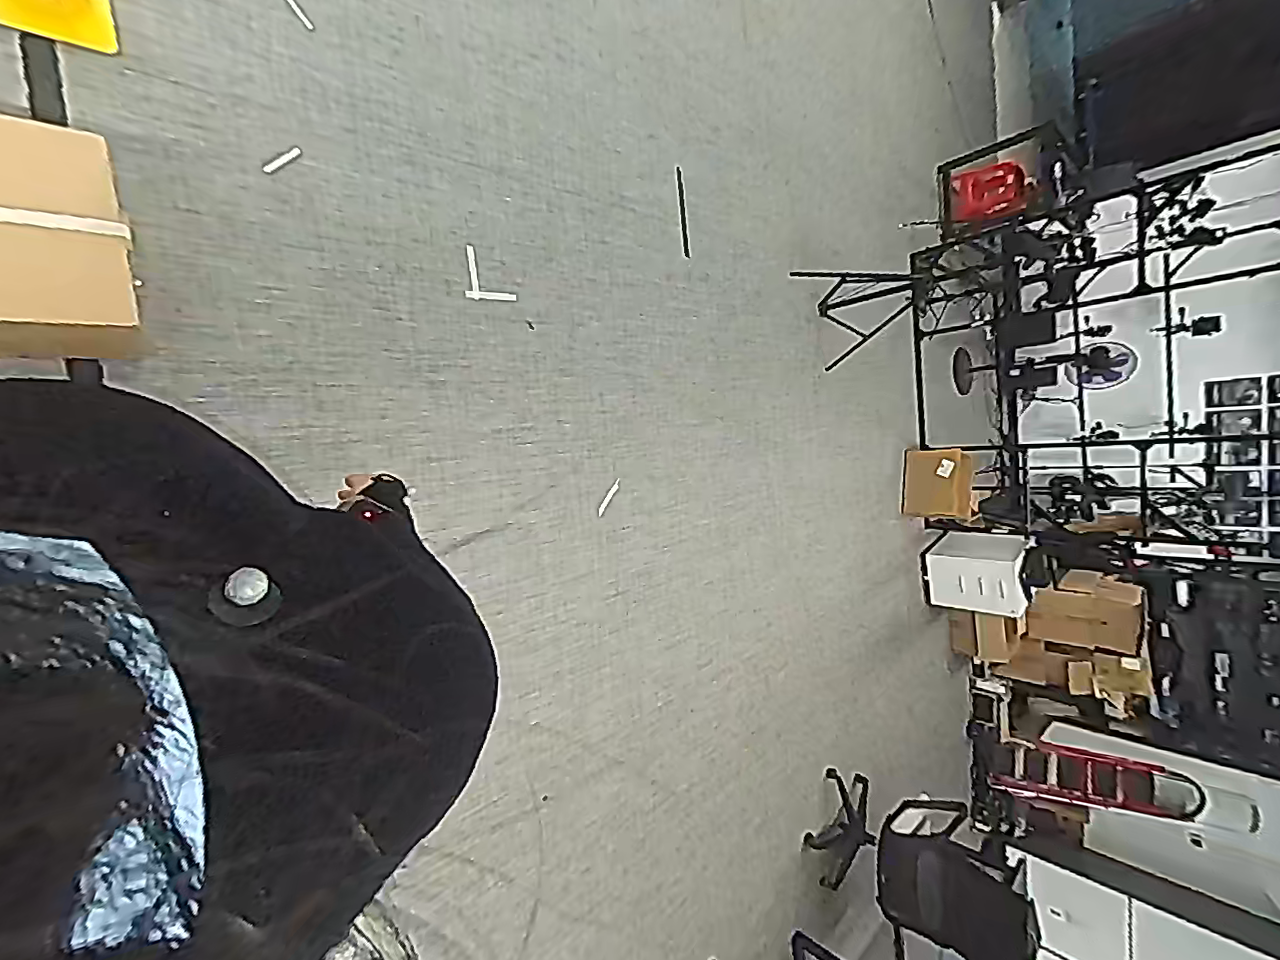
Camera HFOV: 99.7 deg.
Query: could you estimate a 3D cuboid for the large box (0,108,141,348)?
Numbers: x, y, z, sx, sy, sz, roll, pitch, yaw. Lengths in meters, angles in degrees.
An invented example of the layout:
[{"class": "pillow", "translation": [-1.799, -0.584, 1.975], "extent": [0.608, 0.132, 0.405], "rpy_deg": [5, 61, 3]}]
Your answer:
[{"class": "large box", "translation": [-1.112, -0.396, 0.879], "extent": [0.408, 0.320, 0.320], "rpy_deg": [-10, 96, -41]}]
